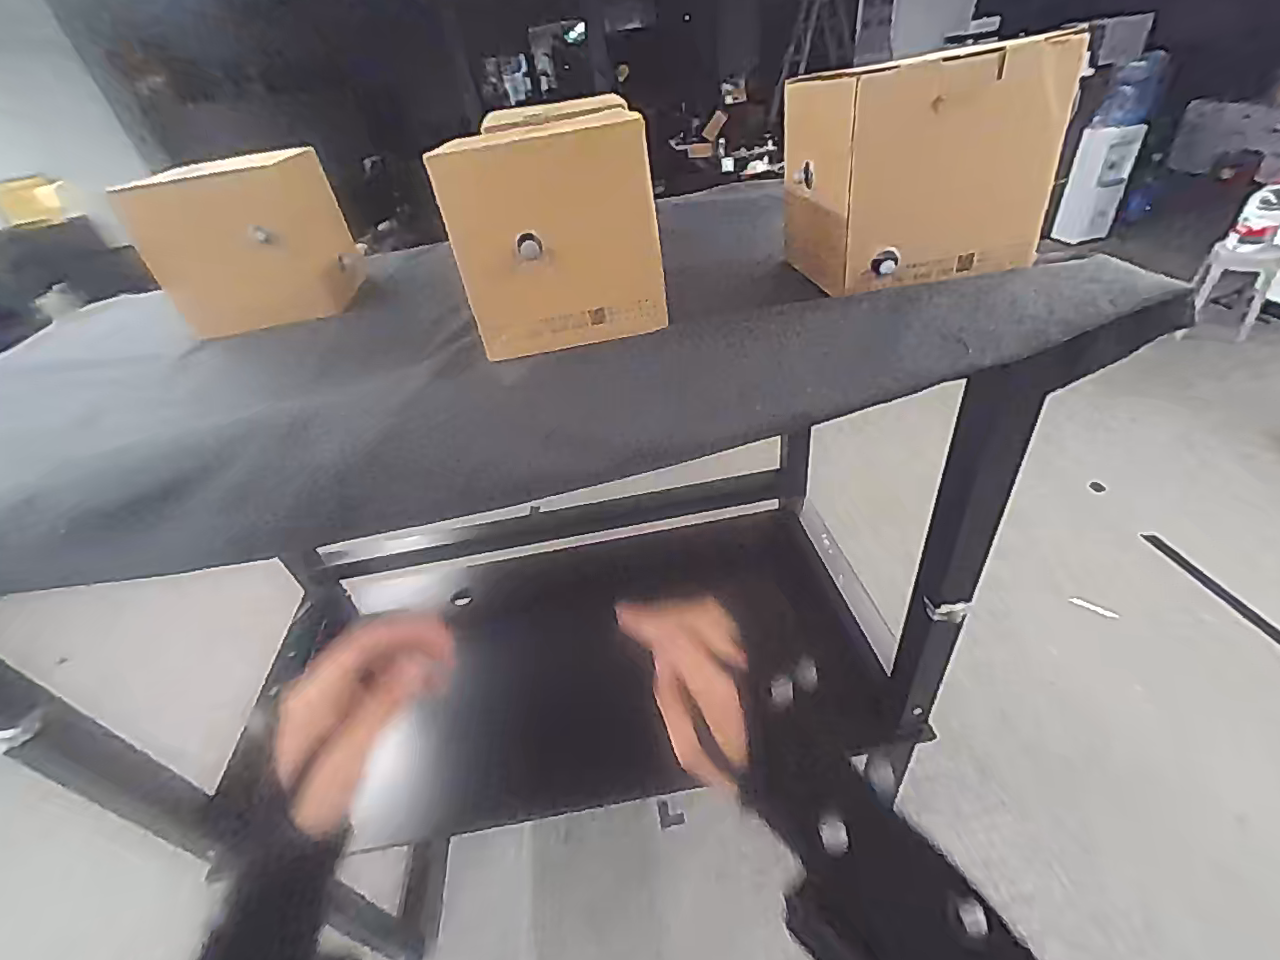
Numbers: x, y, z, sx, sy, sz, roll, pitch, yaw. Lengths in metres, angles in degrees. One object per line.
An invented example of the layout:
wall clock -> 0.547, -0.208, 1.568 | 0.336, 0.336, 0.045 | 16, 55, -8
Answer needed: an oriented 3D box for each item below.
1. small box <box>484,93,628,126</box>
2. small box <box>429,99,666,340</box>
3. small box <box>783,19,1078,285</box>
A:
small box -> -0.094, -0.396, 0.715 | 0.168, 0.176, 0.179 | -11, 37, -2
small box -> -0.075, -0.243, 0.513 | 0.168, 0.176, 0.179 | -11, 35, -1
small box -> 0.237, -0.289, 0.497 | 0.168, 0.176, 0.179 | -9, 34, 1
